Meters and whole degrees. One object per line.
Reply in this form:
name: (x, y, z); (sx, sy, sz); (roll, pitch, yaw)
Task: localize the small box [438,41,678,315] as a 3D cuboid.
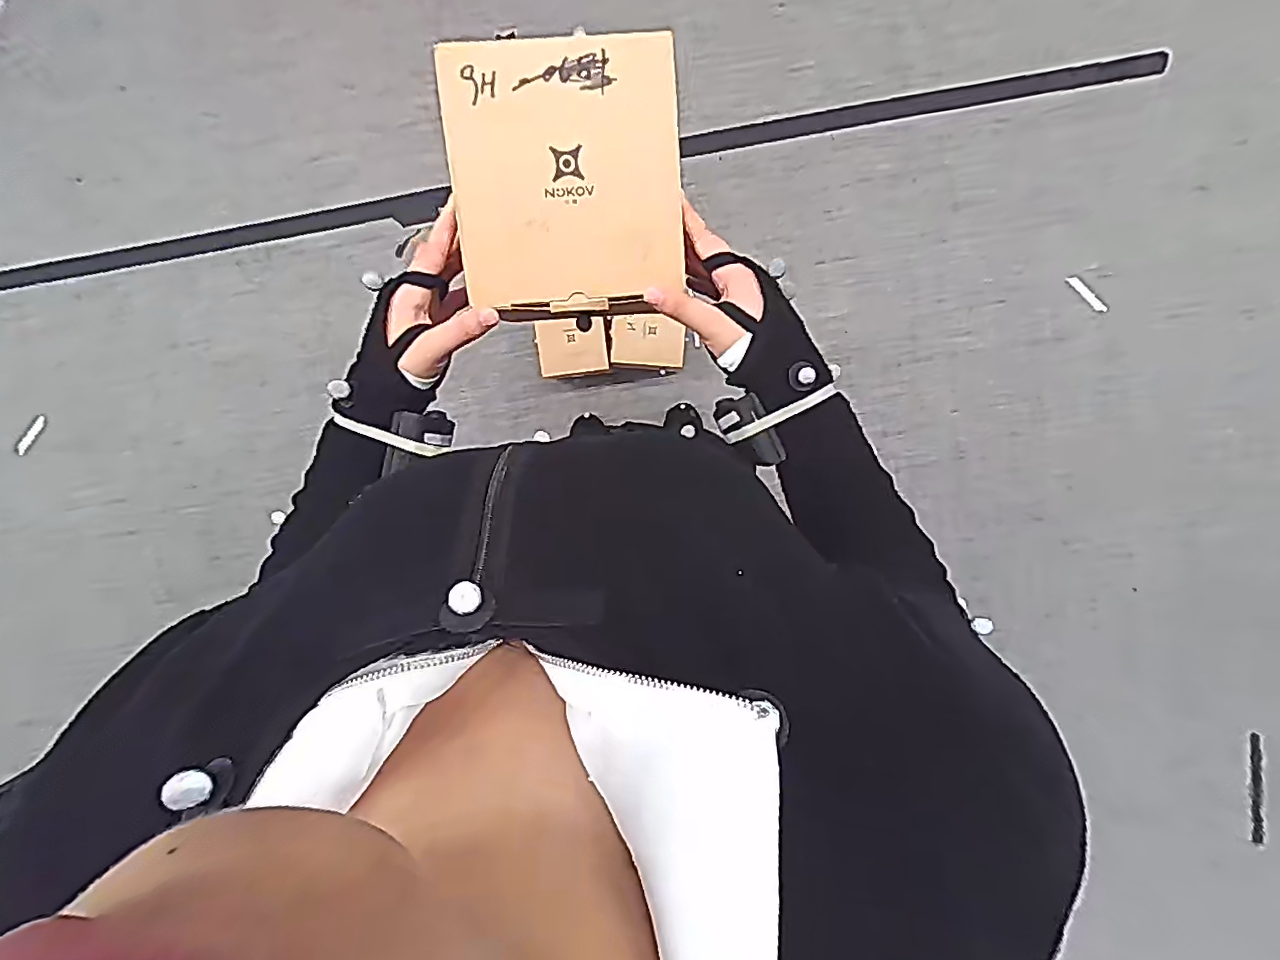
small box: (-0.058, -0.239, 0.475); (0.168, 0.176, 0.179); (-5, 105, -2)
